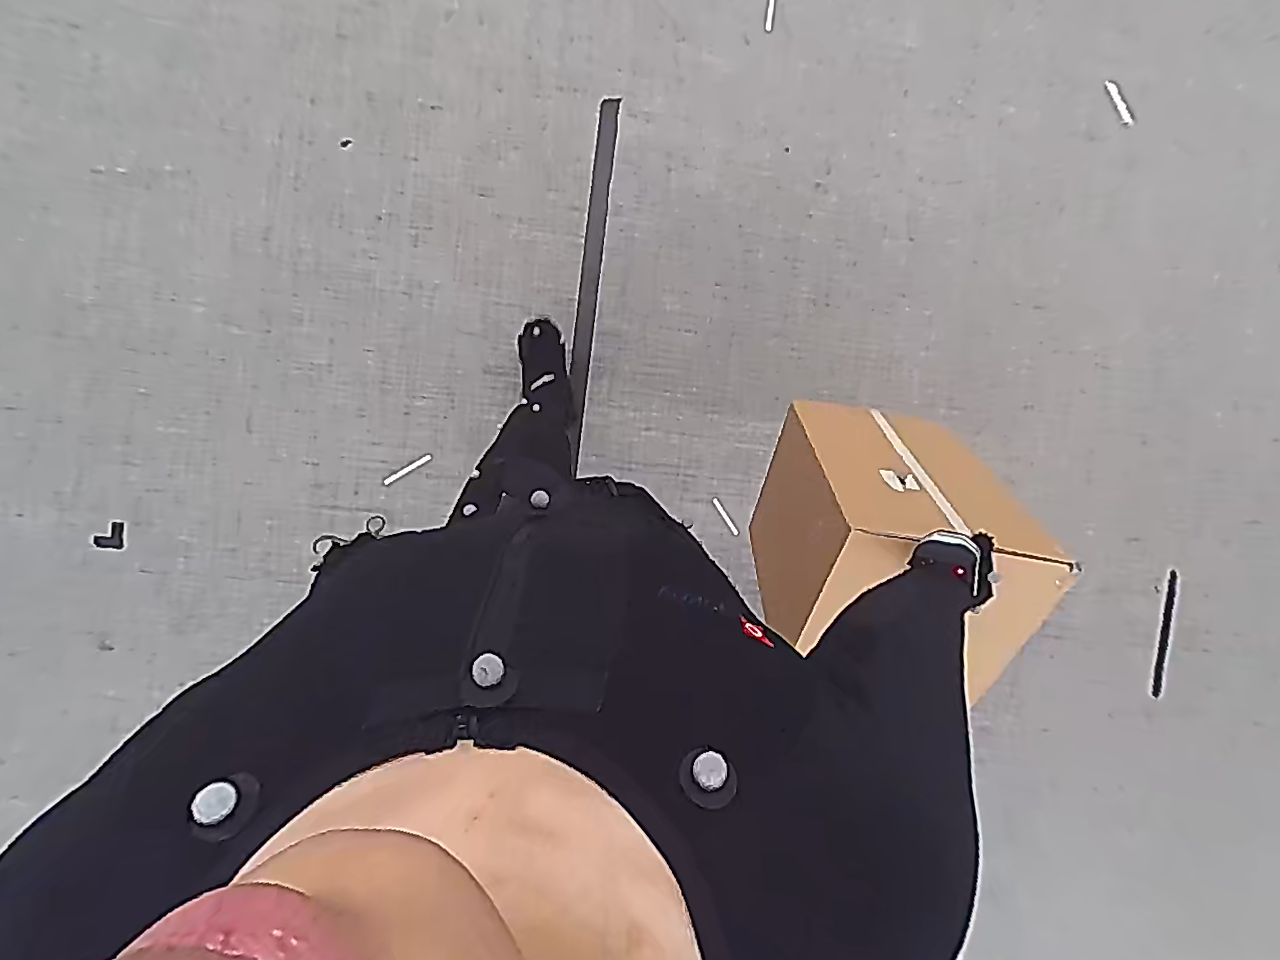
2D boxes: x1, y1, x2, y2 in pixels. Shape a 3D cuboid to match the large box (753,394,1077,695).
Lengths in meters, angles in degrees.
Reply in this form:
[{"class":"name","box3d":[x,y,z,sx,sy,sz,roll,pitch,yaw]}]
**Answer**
[{"class":"large box","box3d":[0.411,0.096,0.949,0.320,0.408,0.320,9,125,-2]}]
